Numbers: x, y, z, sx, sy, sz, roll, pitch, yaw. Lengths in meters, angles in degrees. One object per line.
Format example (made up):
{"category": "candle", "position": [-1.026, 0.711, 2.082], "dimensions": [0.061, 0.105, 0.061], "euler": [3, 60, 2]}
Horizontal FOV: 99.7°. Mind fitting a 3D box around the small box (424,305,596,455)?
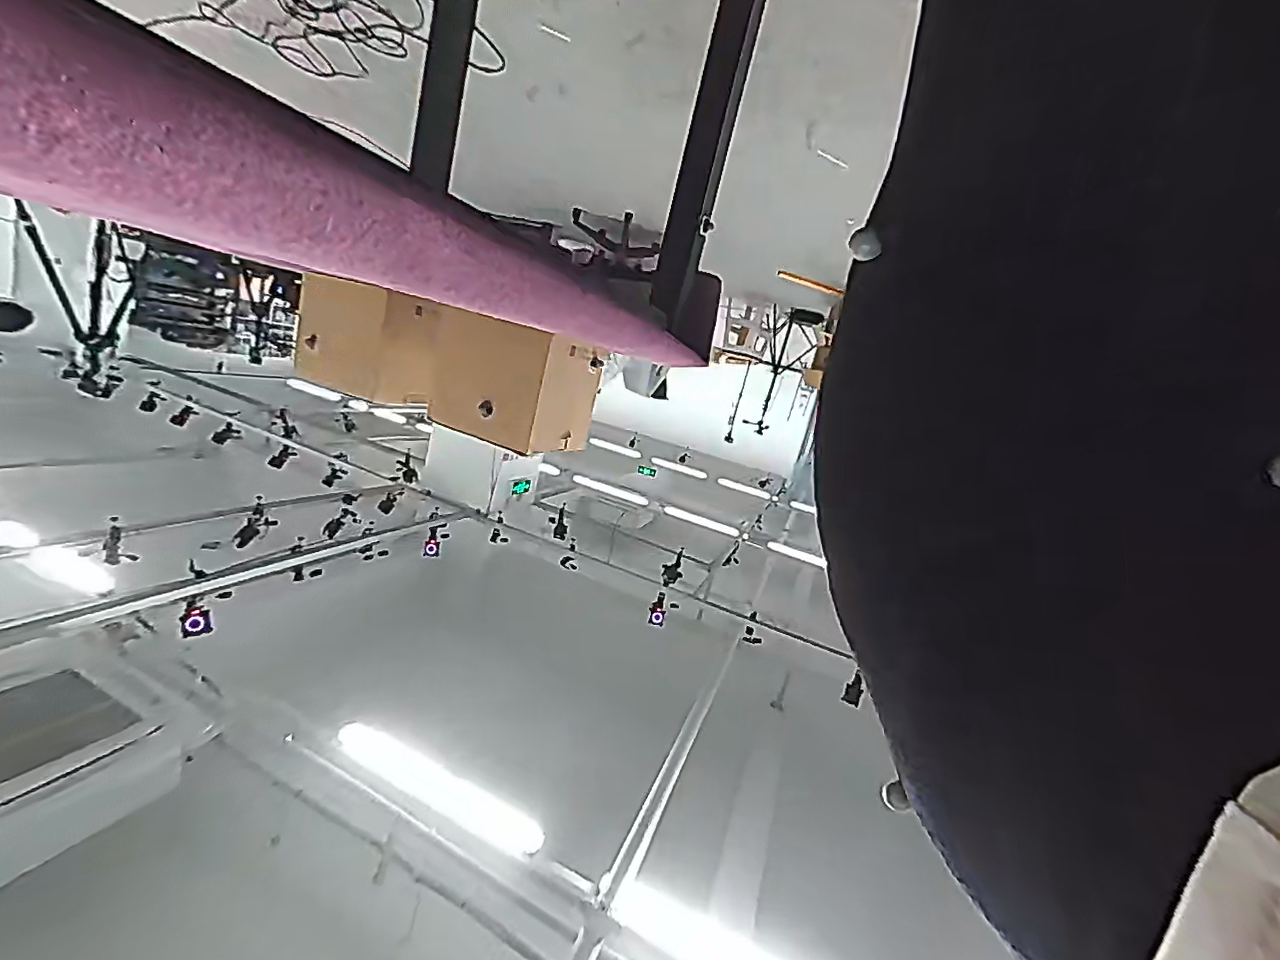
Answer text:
{"category": "small box", "position": [-0.179, -0.145, 0.787], "dimensions": [0.179, 0.176, 0.168], "euler": [21, -168, 19]}
